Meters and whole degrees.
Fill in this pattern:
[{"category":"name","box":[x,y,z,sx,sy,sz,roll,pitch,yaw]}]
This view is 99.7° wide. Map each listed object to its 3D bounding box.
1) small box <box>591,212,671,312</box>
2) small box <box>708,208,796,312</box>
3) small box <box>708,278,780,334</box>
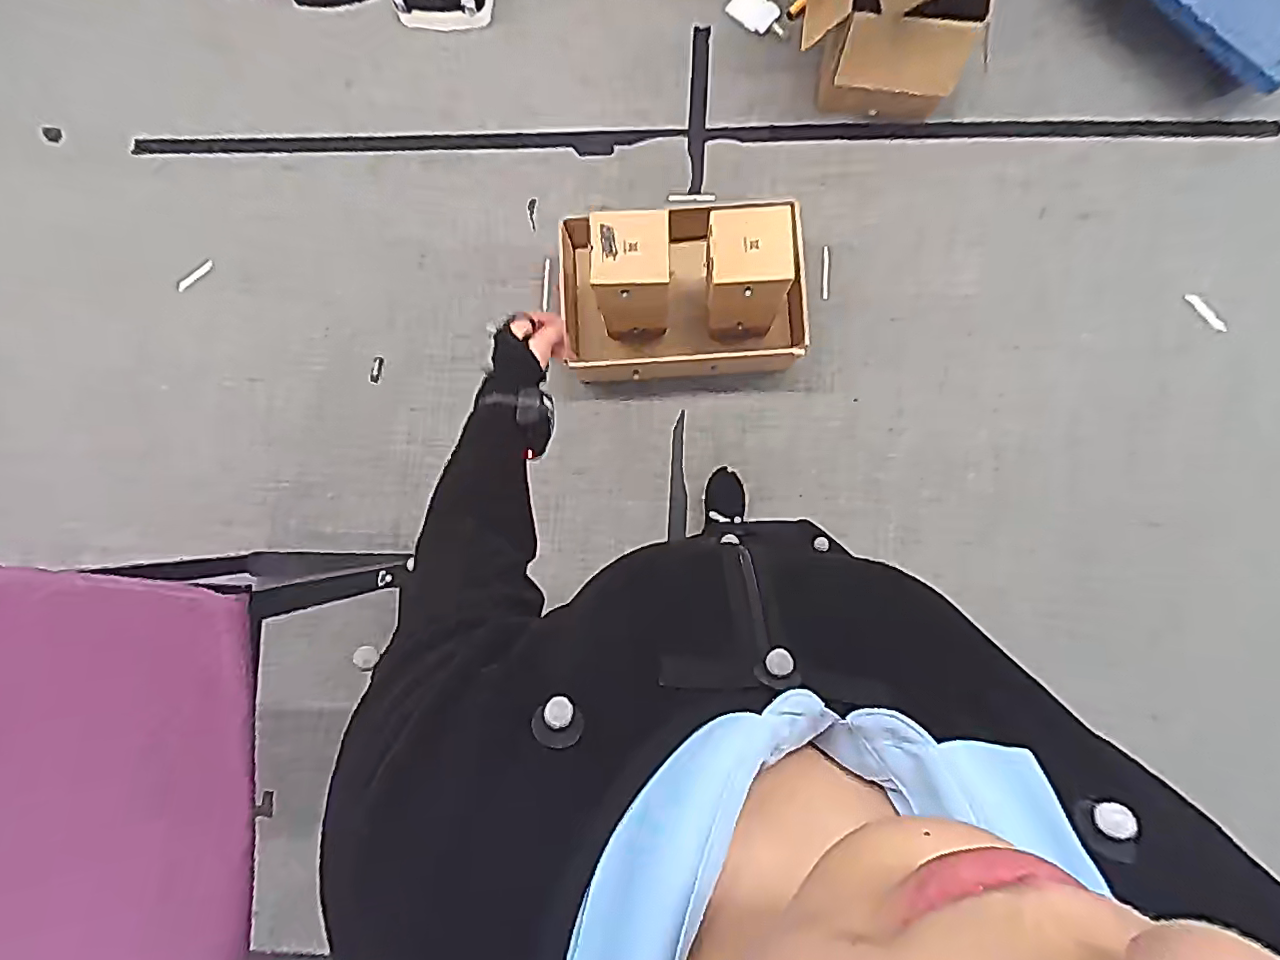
[{"category":"small box","box":[-0.016,-0.500,1.261,0.179,0.176,0.168,-1,86,1]},{"category":"small box","box":[0.251,-0.498,1.246,0.179,0.176,0.168,-2,86,5]},{"category":"small box","box":[0.265,-0.488,1.408,0.168,0.176,0.179,-1,85,4]}]
